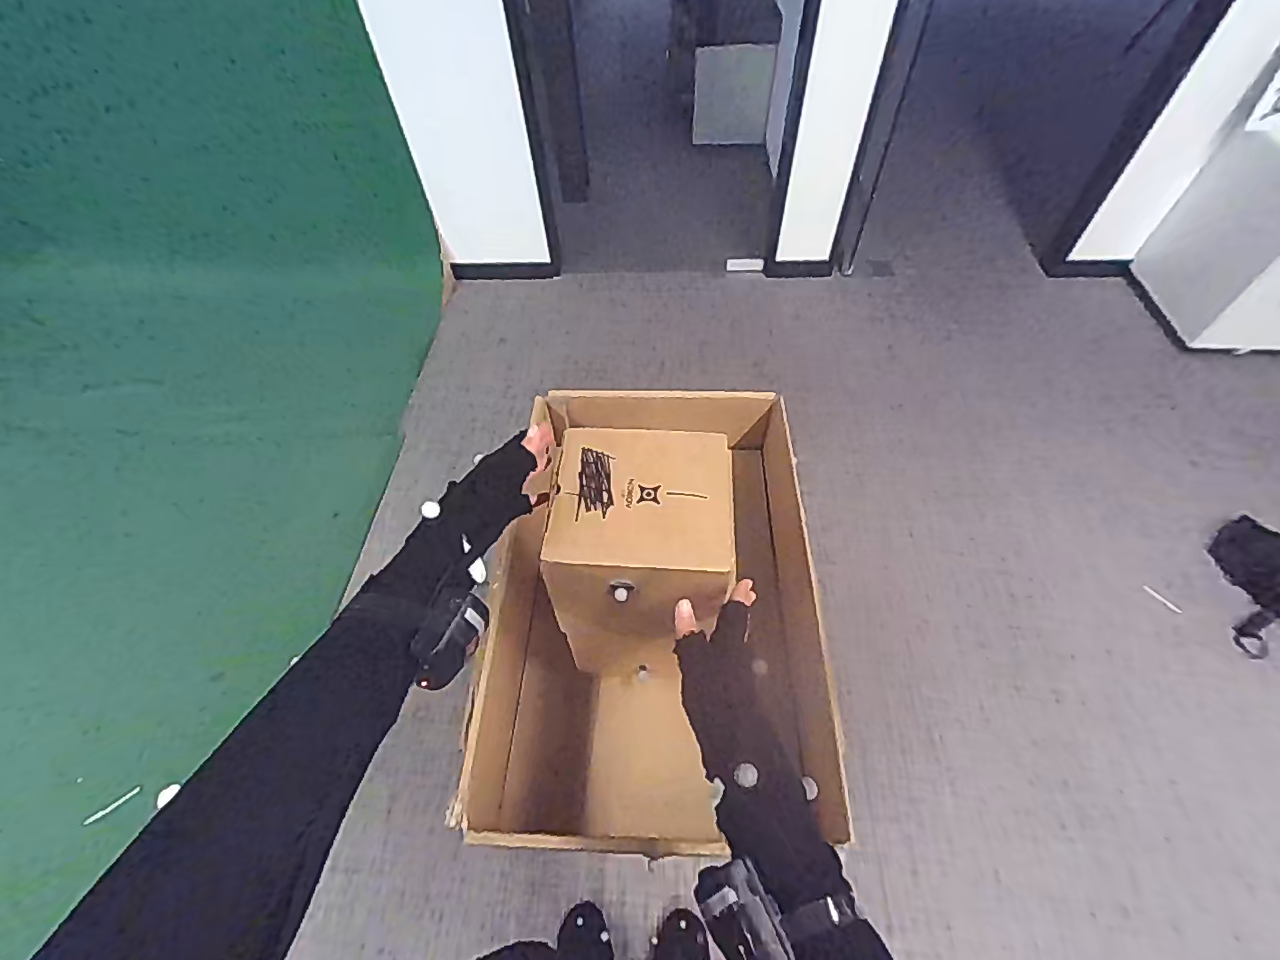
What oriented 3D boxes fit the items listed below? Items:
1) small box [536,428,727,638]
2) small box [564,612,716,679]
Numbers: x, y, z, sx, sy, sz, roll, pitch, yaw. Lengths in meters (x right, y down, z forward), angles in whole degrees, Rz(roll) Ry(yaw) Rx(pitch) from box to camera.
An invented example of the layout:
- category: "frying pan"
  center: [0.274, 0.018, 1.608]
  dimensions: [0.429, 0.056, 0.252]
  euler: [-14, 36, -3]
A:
- category: "small box"
  center: [-0.001, 0.062, 0.593]
  dimensions: [0.179, 0.176, 0.168]
  euler: [4, 53, 3]
- category: "small box"
  center: [0.002, 0.158, 0.726]
  dimensions: [0.179, 0.176, 0.168]
  euler: [1, 52, 1]
